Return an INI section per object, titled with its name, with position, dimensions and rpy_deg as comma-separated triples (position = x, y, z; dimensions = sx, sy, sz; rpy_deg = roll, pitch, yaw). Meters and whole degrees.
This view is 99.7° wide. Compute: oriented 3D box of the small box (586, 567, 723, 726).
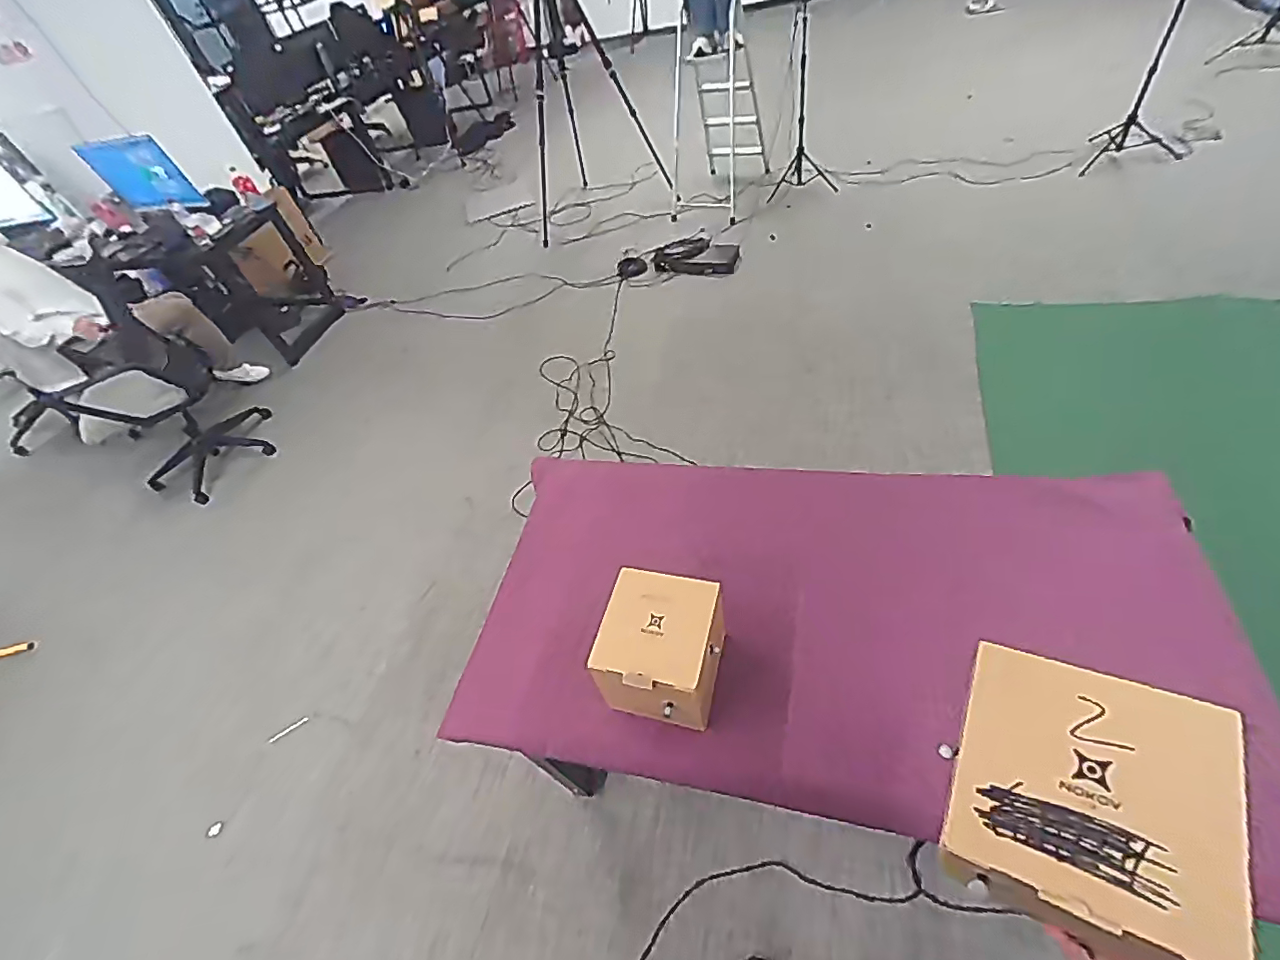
[small box]
position = 0.035, 0.269, 0.870
dimensions = 0.168, 0.176, 0.179
rpy_deg = 7, 50, 19
